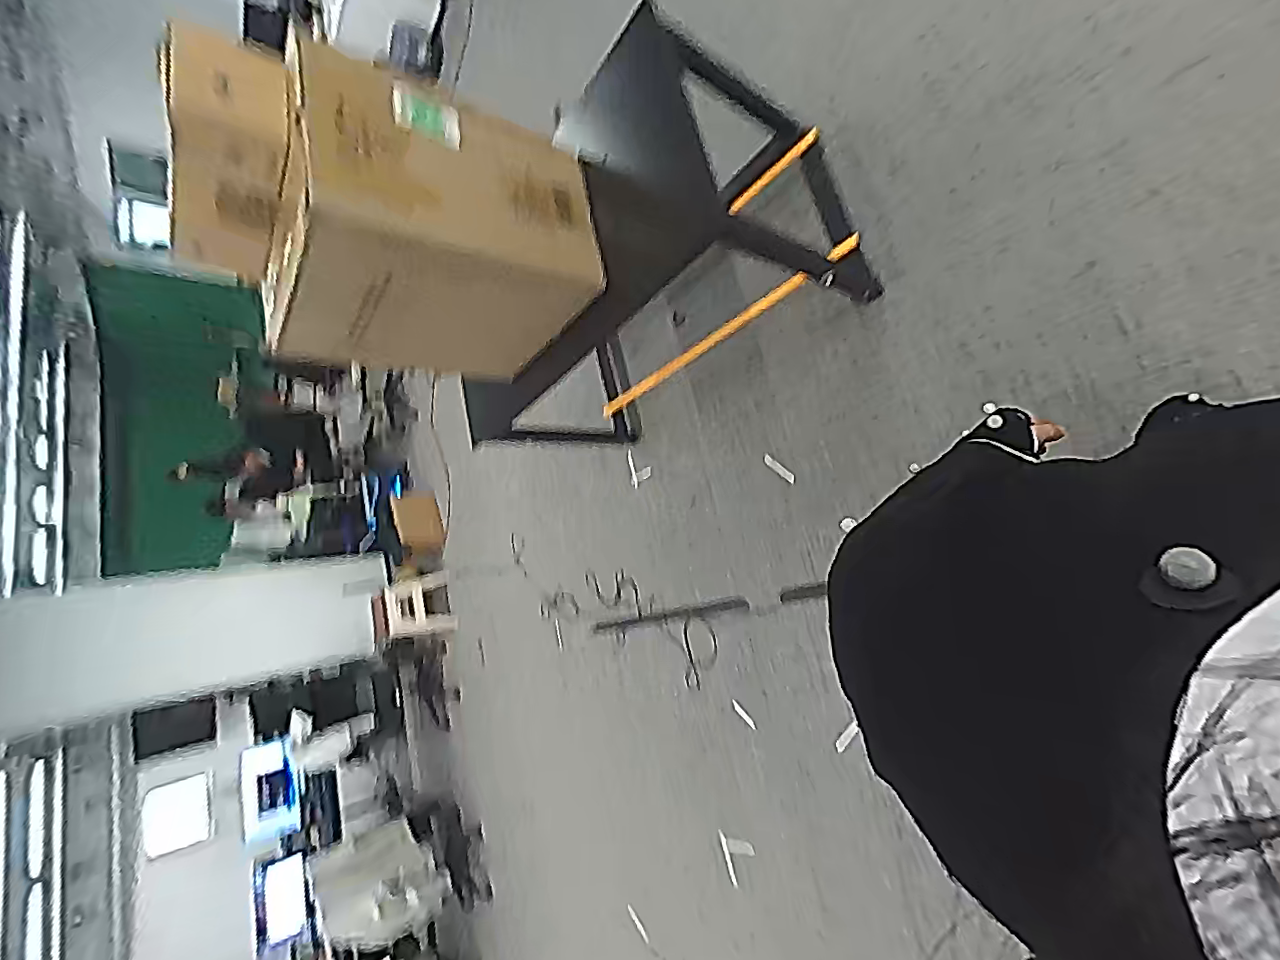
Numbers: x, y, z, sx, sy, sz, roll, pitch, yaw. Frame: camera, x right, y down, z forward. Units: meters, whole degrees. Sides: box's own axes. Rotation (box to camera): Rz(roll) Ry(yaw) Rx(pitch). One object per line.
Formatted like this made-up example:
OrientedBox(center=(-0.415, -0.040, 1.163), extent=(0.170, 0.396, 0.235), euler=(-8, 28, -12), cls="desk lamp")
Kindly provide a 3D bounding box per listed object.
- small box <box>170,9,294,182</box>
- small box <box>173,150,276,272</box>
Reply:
OrientedBox(center=(-0.744, -0.682, 0.991), extent=(0.168, 0.176, 0.179), euler=(-21, 74, 48), cls="small box")
OrientedBox(center=(-0.915, -0.590, 1.192), extent=(0.179, 0.176, 0.168), euler=(-25, 72, 45), cls="small box")
